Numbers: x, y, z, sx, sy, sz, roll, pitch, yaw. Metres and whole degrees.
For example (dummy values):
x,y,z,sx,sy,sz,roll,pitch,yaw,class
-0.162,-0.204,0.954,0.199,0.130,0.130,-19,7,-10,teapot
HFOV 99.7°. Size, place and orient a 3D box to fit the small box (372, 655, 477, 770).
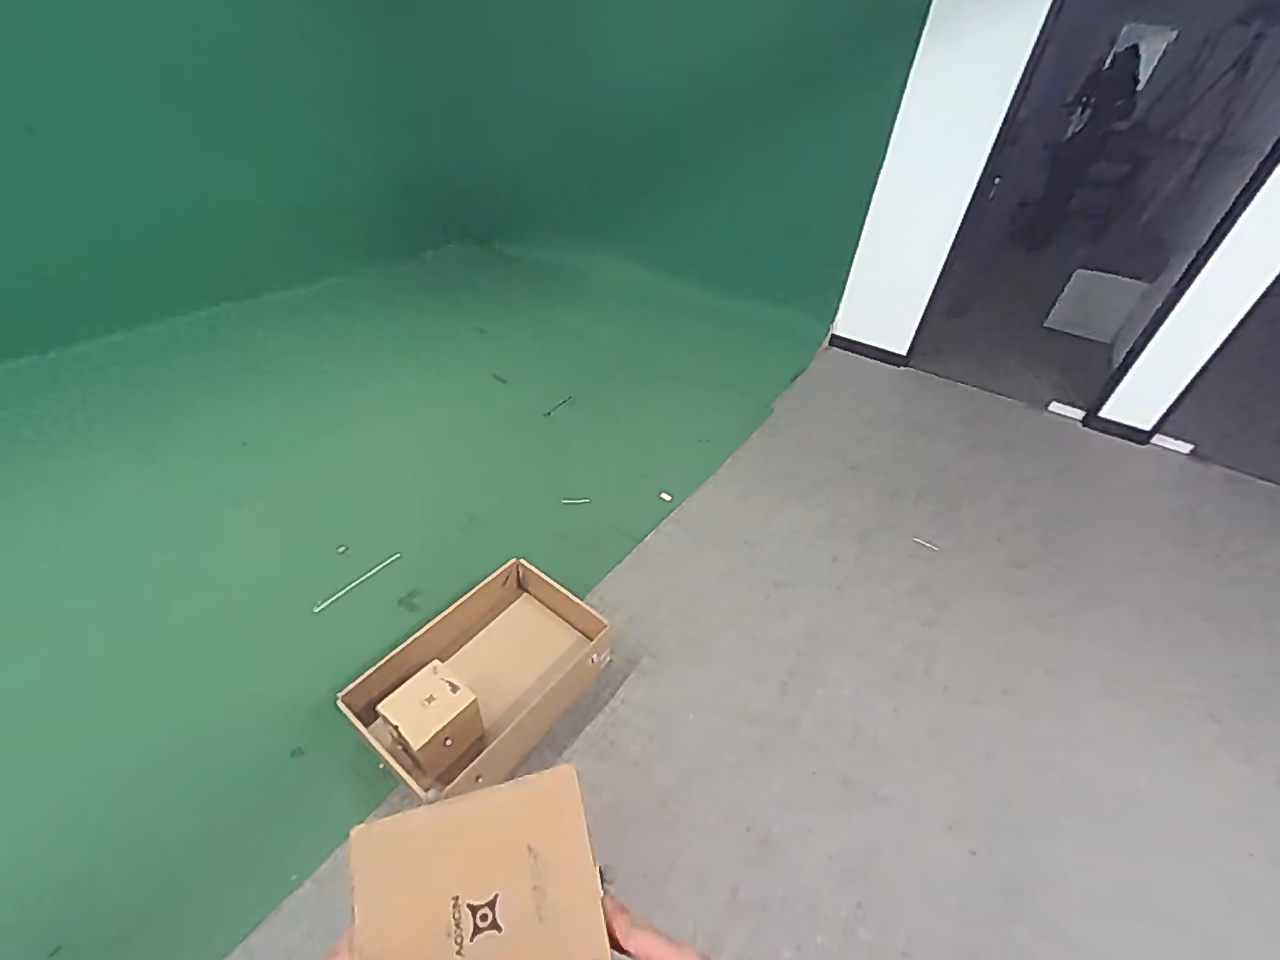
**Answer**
x,y,z,sx,sy,sz,roll,pitch,yaw,class
-0.535,0.590,1.366,0.168,0.176,0.179,31,47,25,small box
